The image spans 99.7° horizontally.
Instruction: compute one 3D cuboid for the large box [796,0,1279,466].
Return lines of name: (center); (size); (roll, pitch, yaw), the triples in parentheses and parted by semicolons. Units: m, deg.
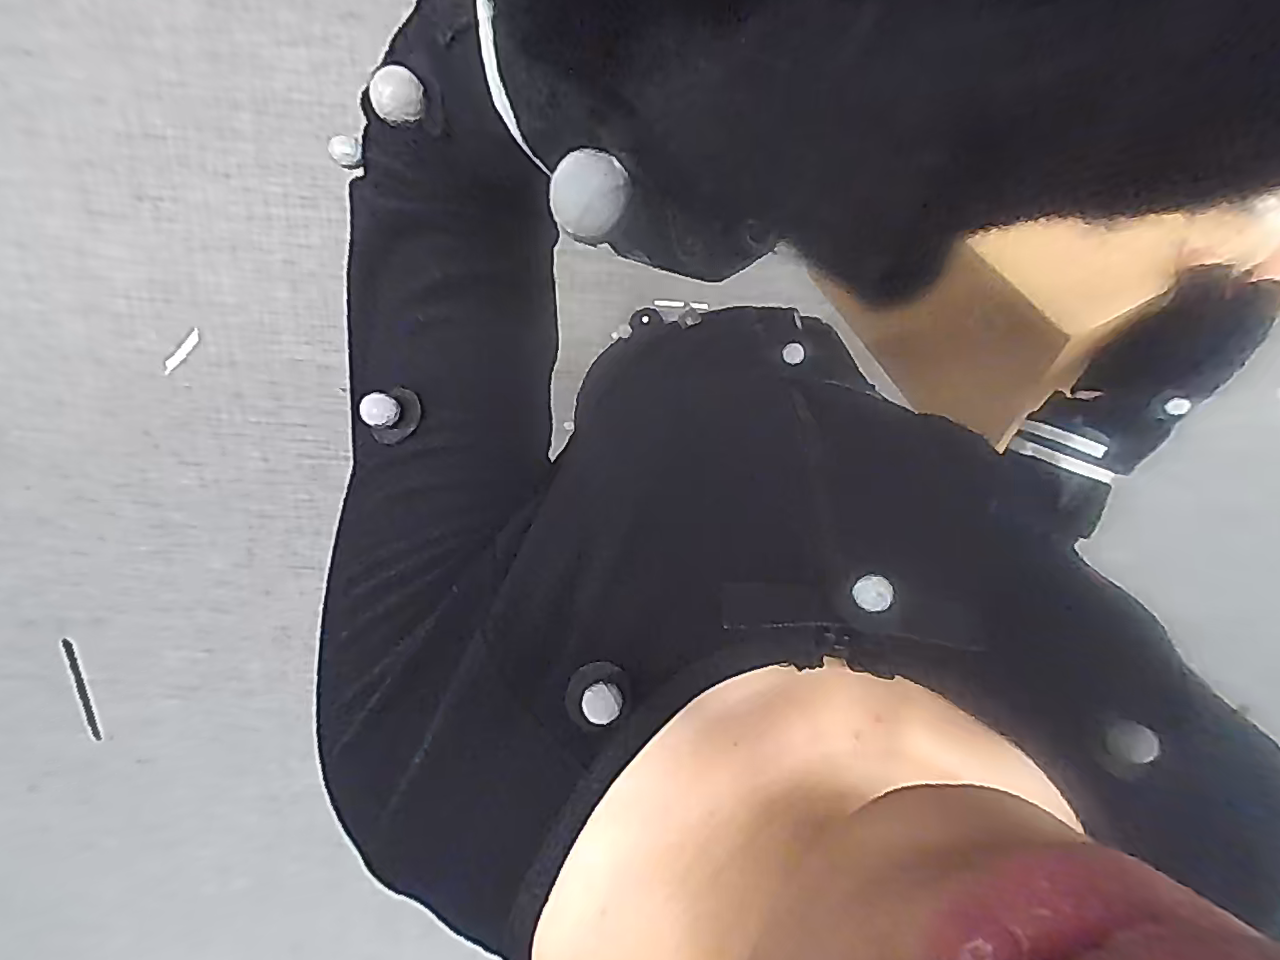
large box: (0.417, -0.293, 0.605); (0.320, 0.320, 0.408); (-29, 64, 8)
